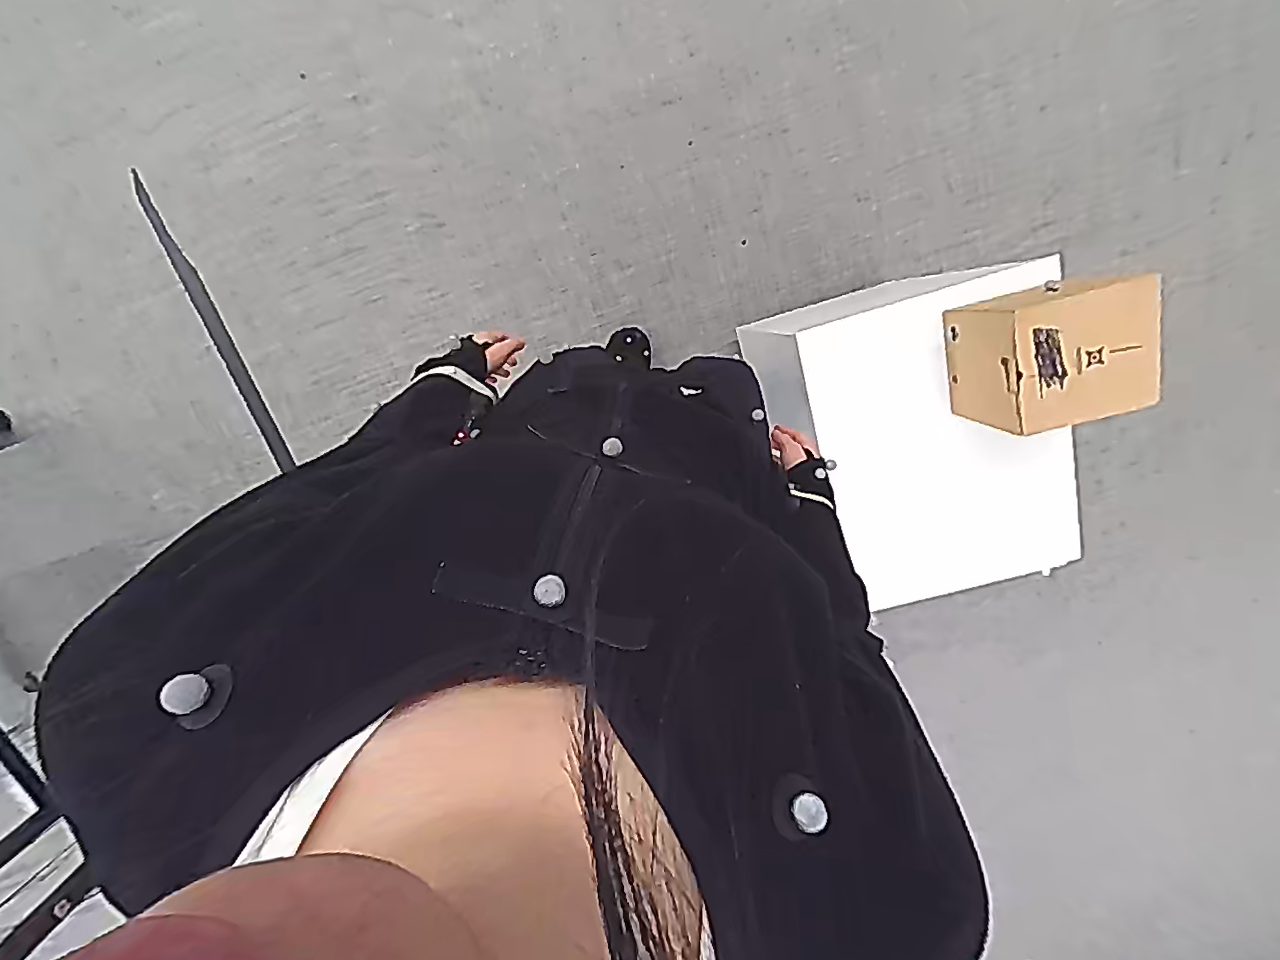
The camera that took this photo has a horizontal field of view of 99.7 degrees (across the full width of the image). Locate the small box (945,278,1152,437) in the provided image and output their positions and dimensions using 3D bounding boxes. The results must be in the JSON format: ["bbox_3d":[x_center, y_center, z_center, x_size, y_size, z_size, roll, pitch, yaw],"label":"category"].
[{"bbox_3d":[0.554,-0.172,0.757,0.179,0.176,0.168,-14,107,4],"label":"small box"}]
